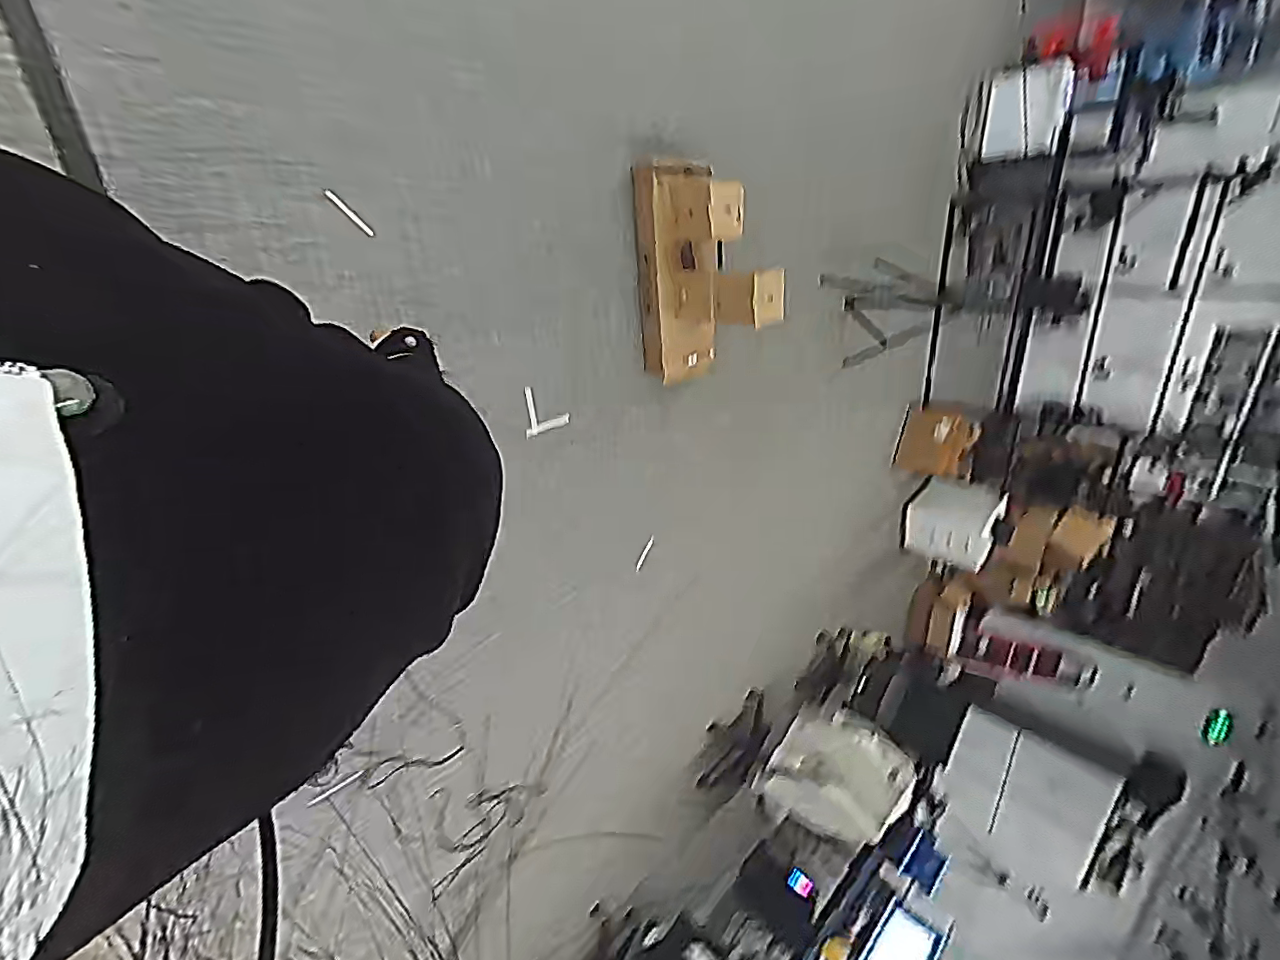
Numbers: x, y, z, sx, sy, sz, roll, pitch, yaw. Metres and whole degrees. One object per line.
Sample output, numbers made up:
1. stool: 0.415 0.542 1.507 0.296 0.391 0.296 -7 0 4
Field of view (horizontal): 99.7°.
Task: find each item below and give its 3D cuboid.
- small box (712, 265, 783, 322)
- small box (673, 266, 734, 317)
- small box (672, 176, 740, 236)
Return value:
1. small box: 0.364 -0.638 1.837 0.179 0.176 0.168 -26 121 -37
2. small box: 0.239 -0.679 1.938 0.179 0.176 0.168 -20 118 -39
3. small box: 0.220 -0.924 1.830 0.179 0.176 0.168 -23 121 -37
